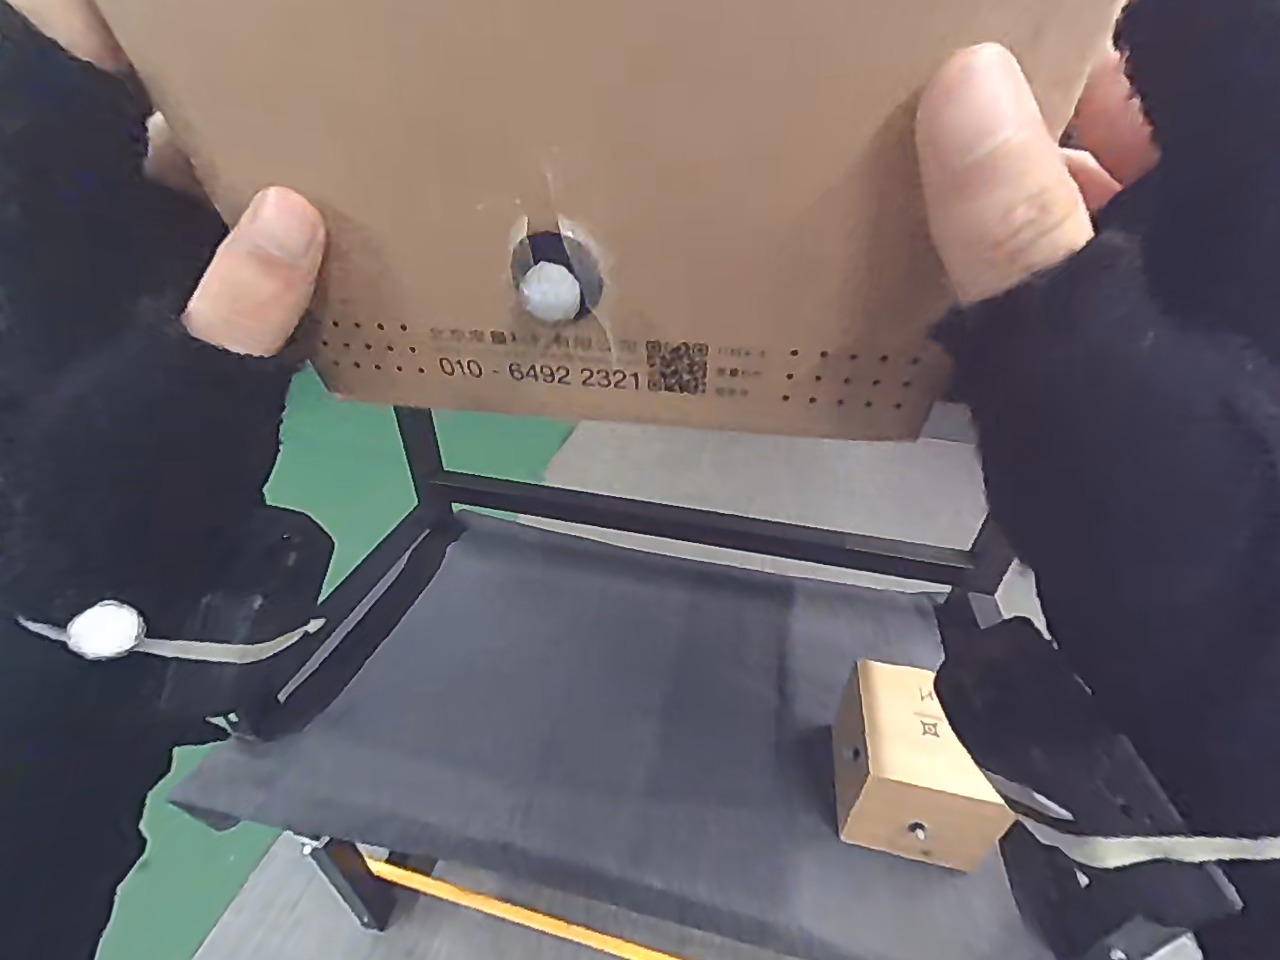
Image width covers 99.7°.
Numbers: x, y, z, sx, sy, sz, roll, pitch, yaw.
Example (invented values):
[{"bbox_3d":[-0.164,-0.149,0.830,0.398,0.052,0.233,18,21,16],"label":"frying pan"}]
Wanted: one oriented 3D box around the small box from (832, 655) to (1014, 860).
[{"bbox_3d":[0.366,0.376,0.739,0.168,0.176,0.179,8,33,11],"label":"small box"}]
